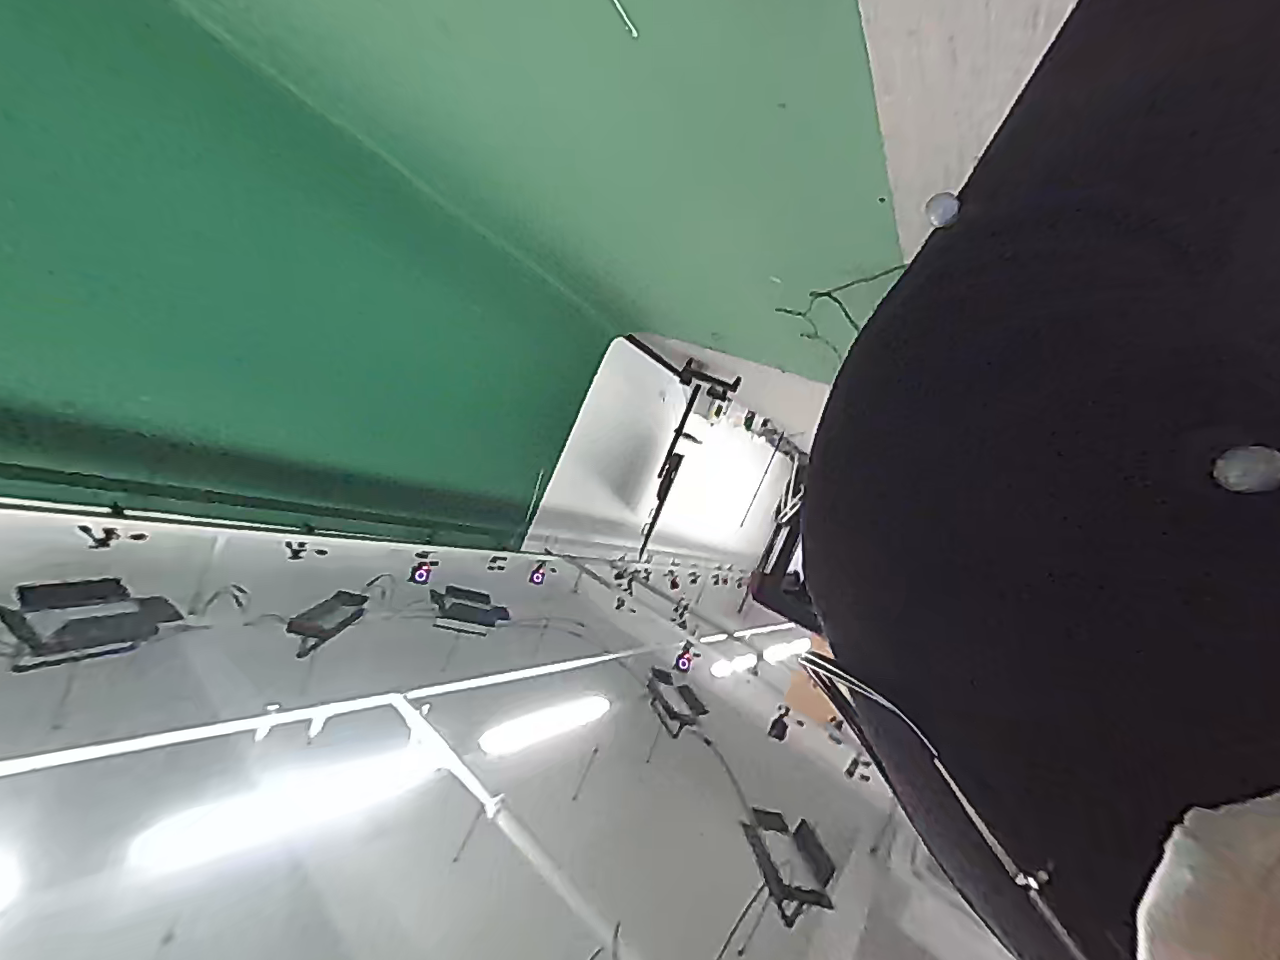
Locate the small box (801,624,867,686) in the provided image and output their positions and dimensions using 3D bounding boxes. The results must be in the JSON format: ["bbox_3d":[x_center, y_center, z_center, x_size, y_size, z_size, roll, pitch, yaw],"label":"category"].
[{"bbox_3d":[0.783,0.696,2.172,0.179,0.176,0.168,27,-174,35],"label":"small box"}]
